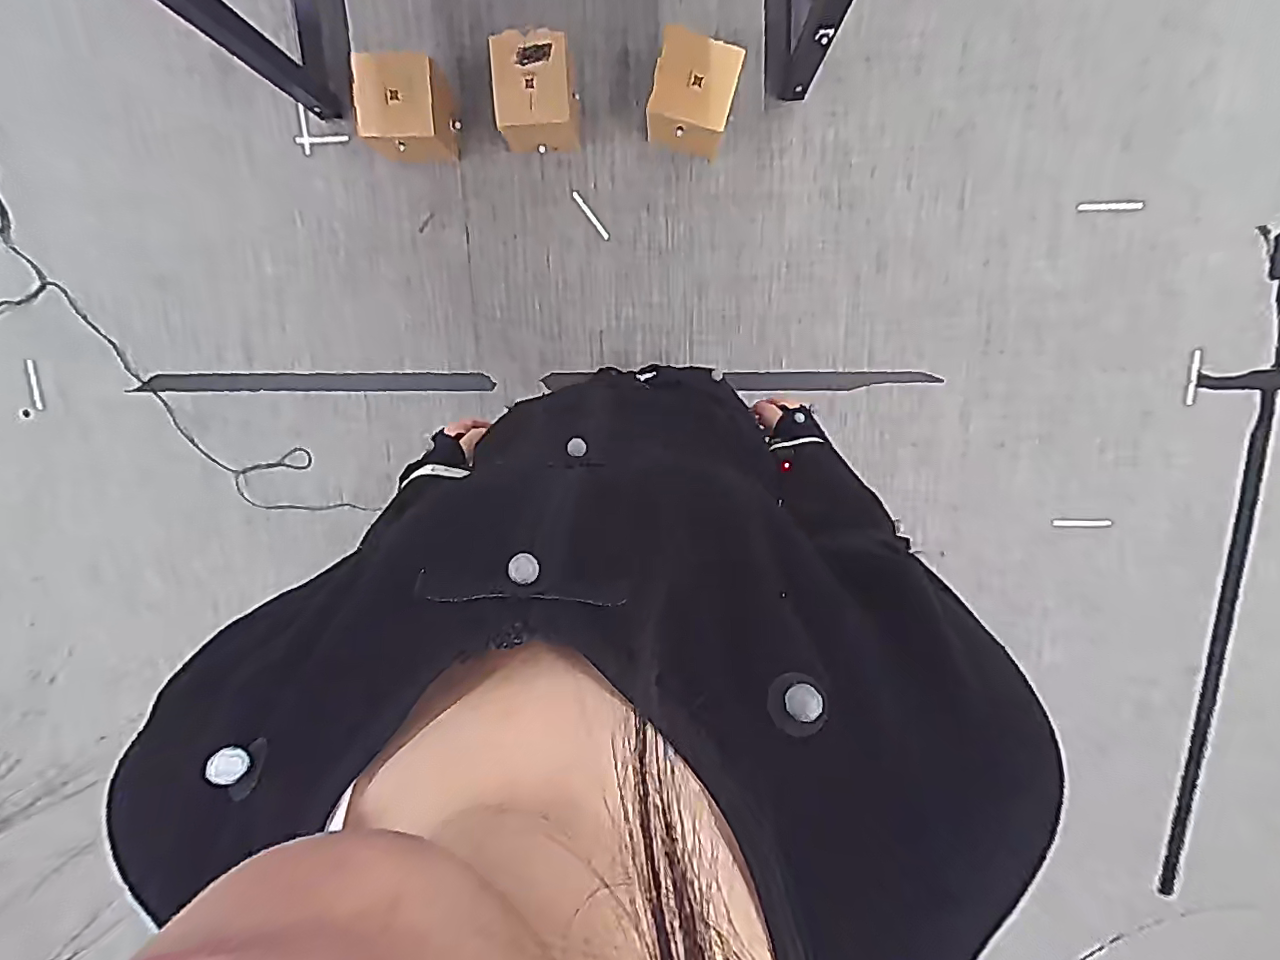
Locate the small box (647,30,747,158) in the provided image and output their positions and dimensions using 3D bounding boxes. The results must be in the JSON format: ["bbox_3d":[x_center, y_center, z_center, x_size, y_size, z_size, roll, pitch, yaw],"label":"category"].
[{"bbox_3d":[0.126,-0.866,1.234,0.179,0.176,0.168,16,103,0],"label":"small box"}]

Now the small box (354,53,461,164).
[{"bbox_3d":[-0.535,-0.859,1.264,0.179,0.176,0.168,2,103,1],"label":"small box"}]

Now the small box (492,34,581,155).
[{"bbox_3d":[-0.231,-0.878,1.245,0.168,0.176,0.179,-1,103,3],"label":"small box"}]
